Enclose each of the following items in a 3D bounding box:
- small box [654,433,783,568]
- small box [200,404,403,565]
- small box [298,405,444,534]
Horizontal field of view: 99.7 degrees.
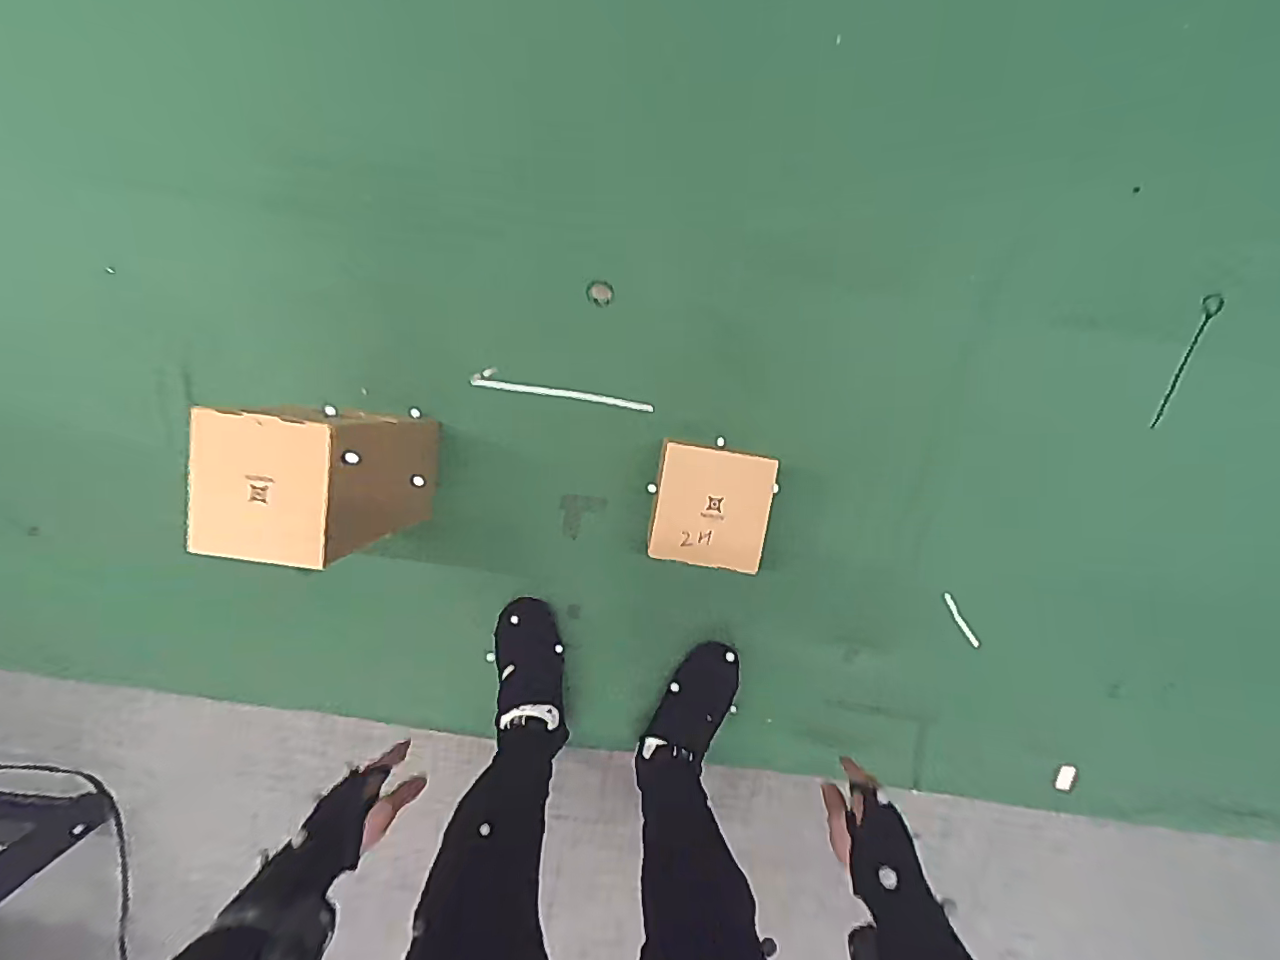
[{"bbox_3d":[0.115,0.023,0.869,0.168,0.176,0.179,9,98,0],"label":"small box"},{"bbox_3d":[-0.434,-0.003,0.717,0.168,0.176,0.179,7,97,1],"label":"small box"},{"bbox_3d":[-0.432,-0.025,0.877,0.168,0.176,0.179,7,98,1],"label":"small box"}]
